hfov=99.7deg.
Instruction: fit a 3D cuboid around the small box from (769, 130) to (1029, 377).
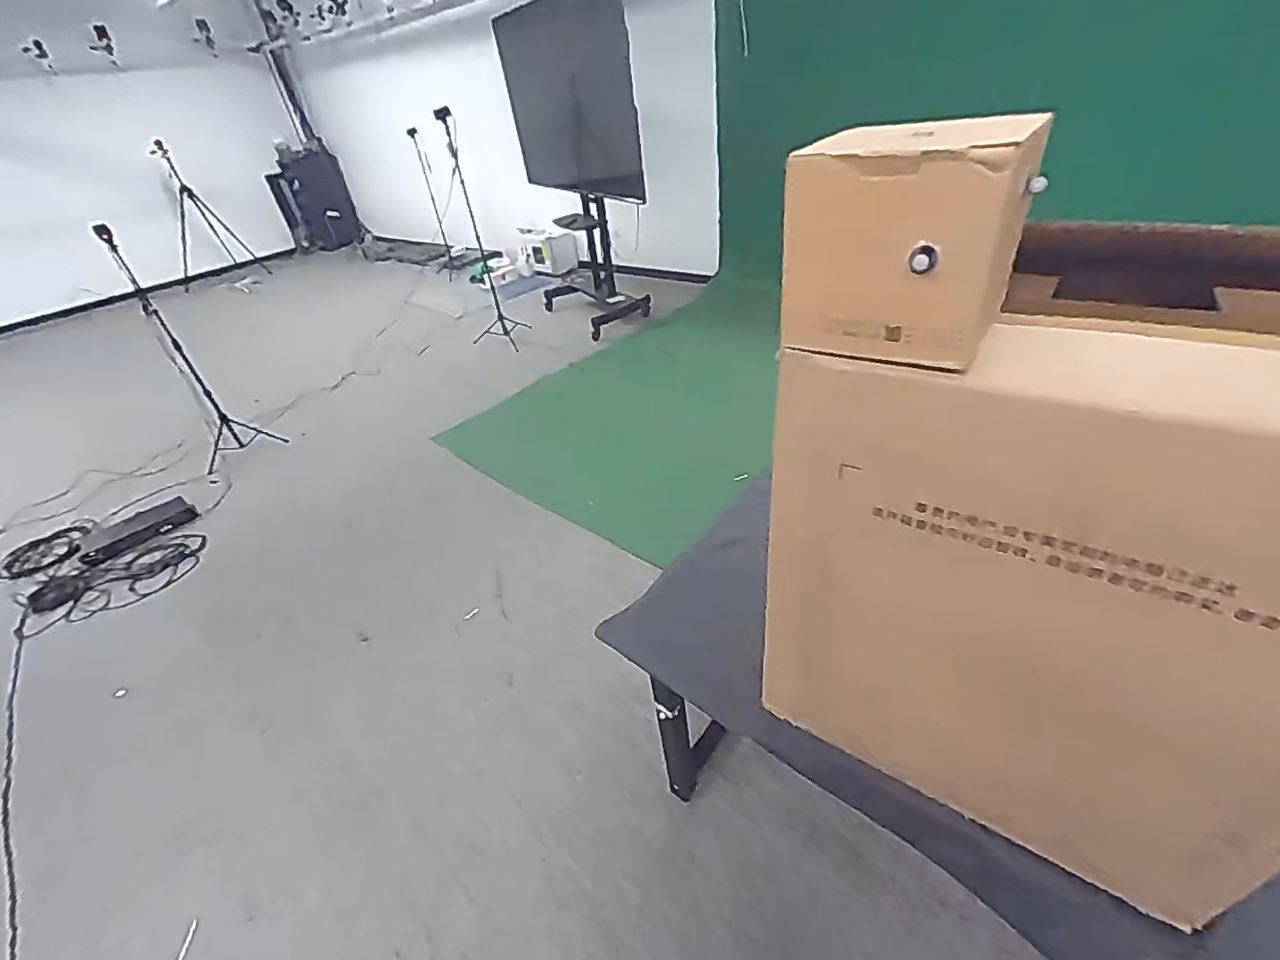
[{"bbox_3d":[0.235,-0.212,0.508,0.168,0.176,0.179,19,43,33],"label":"small box"}]
